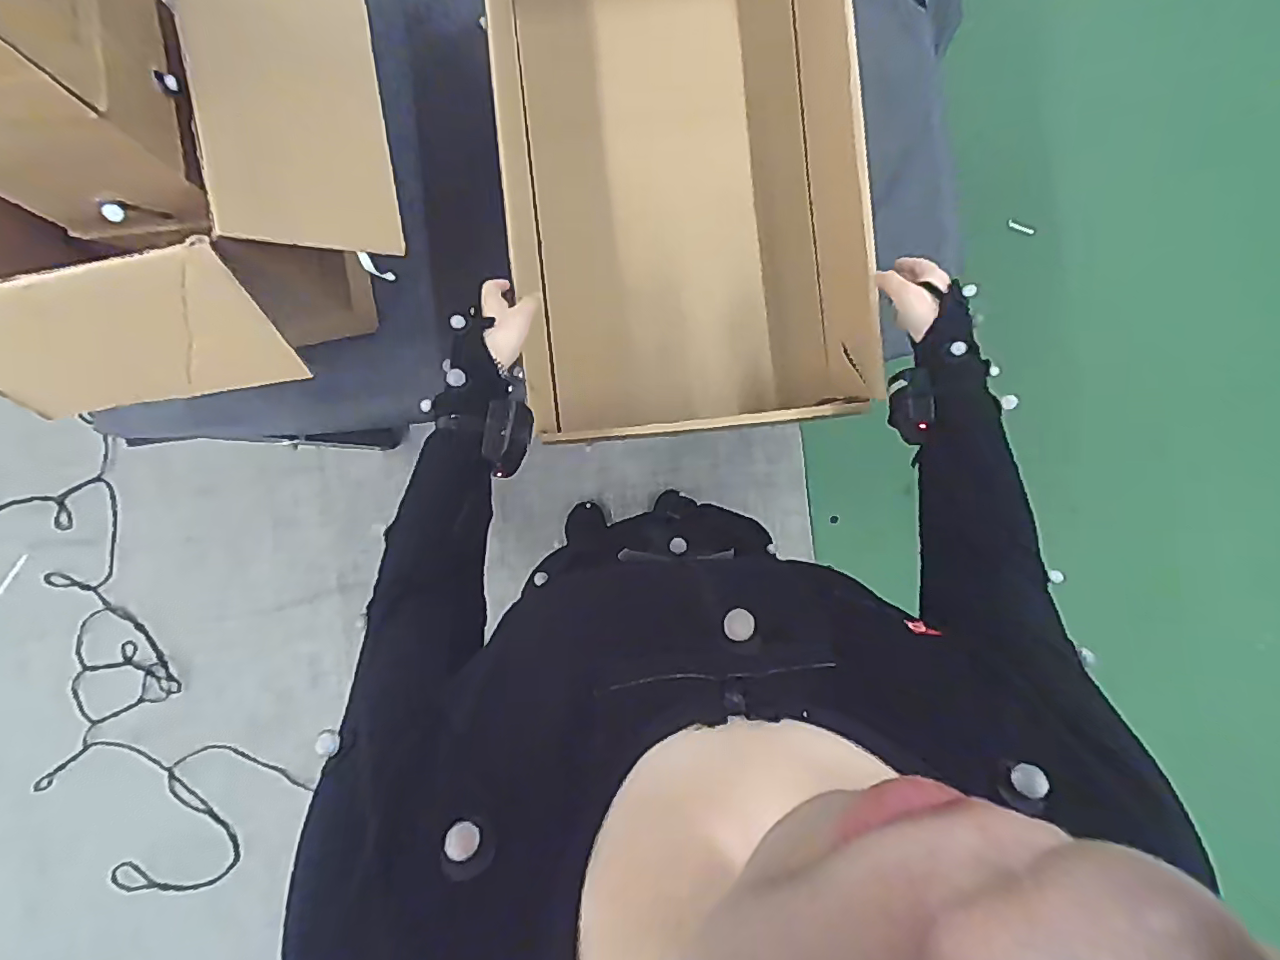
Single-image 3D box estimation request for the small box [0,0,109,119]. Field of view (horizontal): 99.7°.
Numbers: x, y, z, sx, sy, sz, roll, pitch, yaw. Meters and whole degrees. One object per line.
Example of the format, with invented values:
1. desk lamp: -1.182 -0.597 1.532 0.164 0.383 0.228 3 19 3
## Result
1. small box: -0.502 -0.357 0.337 0.179 0.176 0.168 -7 90 -6
